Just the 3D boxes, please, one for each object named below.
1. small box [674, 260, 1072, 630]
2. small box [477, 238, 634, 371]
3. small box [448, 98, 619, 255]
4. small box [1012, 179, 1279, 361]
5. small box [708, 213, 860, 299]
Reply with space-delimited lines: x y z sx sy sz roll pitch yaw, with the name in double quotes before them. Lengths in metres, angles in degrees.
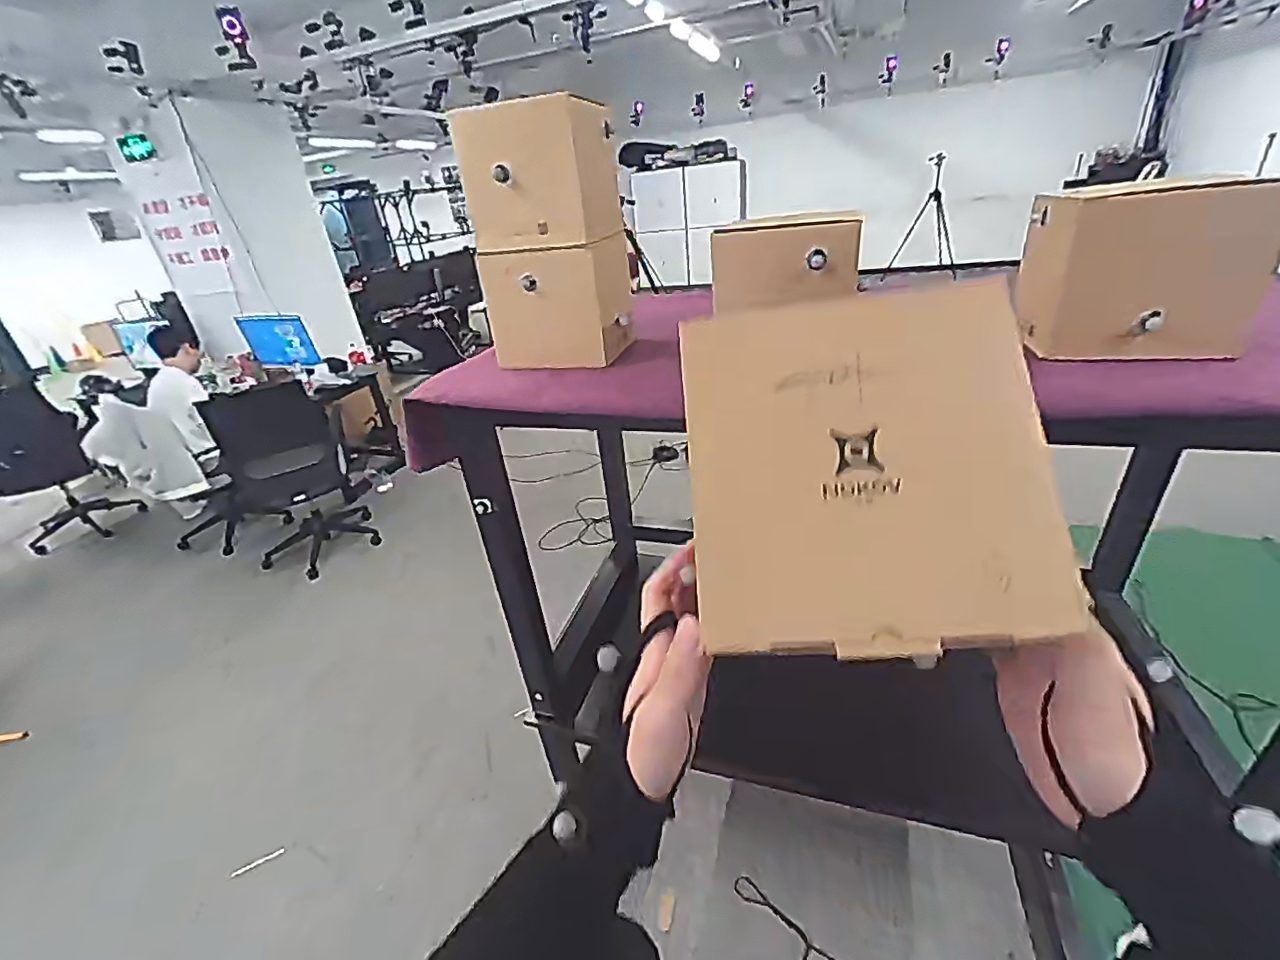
"small box" 0.116 -0.001 0.338 0.168 0.179 0.176 -5 -16 10
"small box" -0.118 -0.270 0.835 0.179 0.176 0.168 3 29 16
"small box" -0.134 -0.415 0.764 0.168 0.176 0.179 1 28 15
"small box" 0.549 -0.236 0.612 0.179 0.176 0.168 4 28 19
"small box" 0.199 -0.258 0.737 0.179 0.176 0.168 3 28 20
